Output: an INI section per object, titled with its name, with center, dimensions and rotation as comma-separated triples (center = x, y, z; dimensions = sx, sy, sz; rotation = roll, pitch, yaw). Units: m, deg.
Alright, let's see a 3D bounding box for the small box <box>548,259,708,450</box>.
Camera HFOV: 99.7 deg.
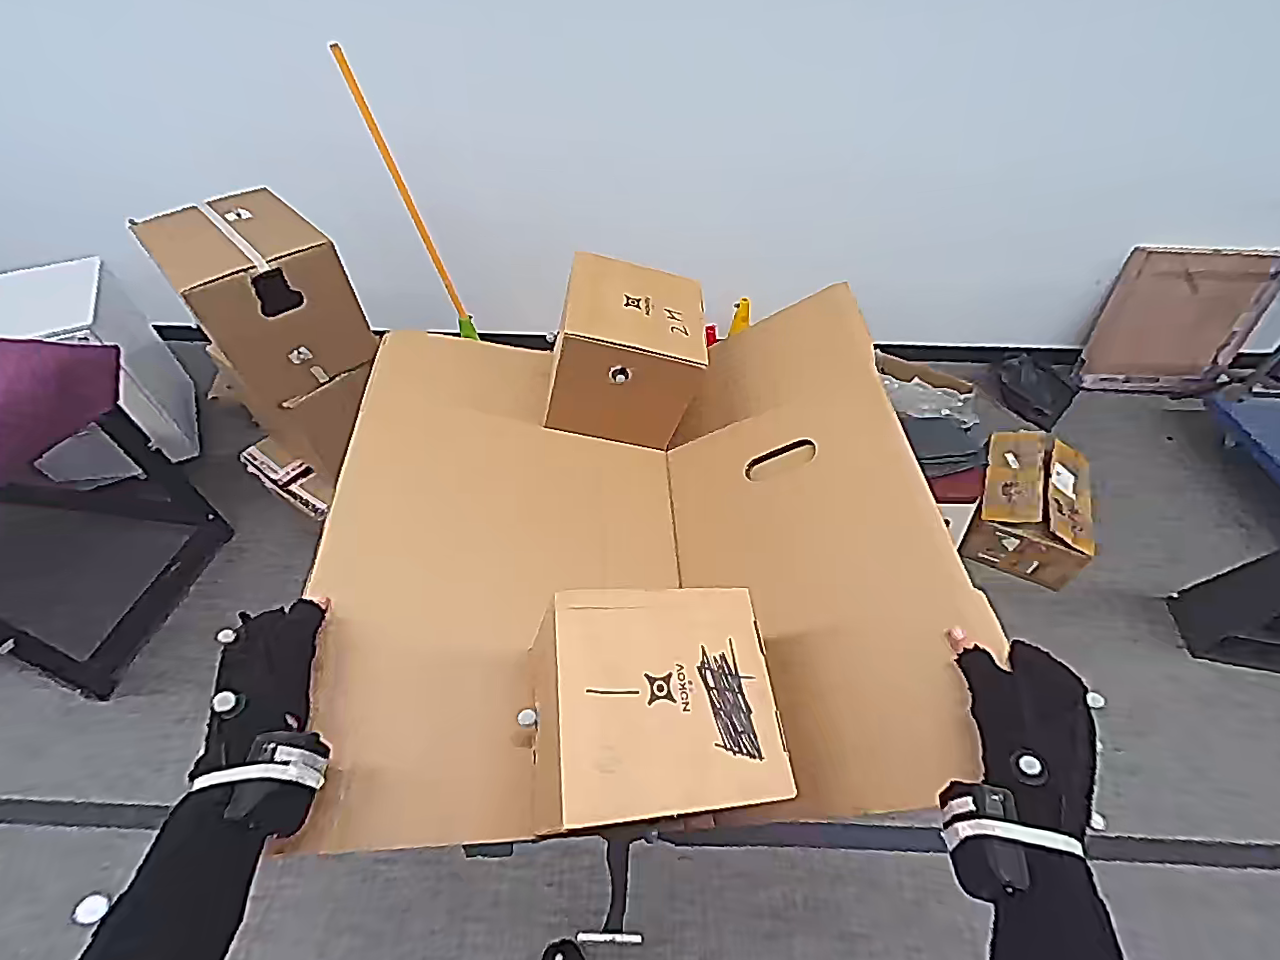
[small box]
center = -0.021, -0.160, 0.731
dimensions = 0.179, 0.176, 0.168
rotation = 11, 54, -12
